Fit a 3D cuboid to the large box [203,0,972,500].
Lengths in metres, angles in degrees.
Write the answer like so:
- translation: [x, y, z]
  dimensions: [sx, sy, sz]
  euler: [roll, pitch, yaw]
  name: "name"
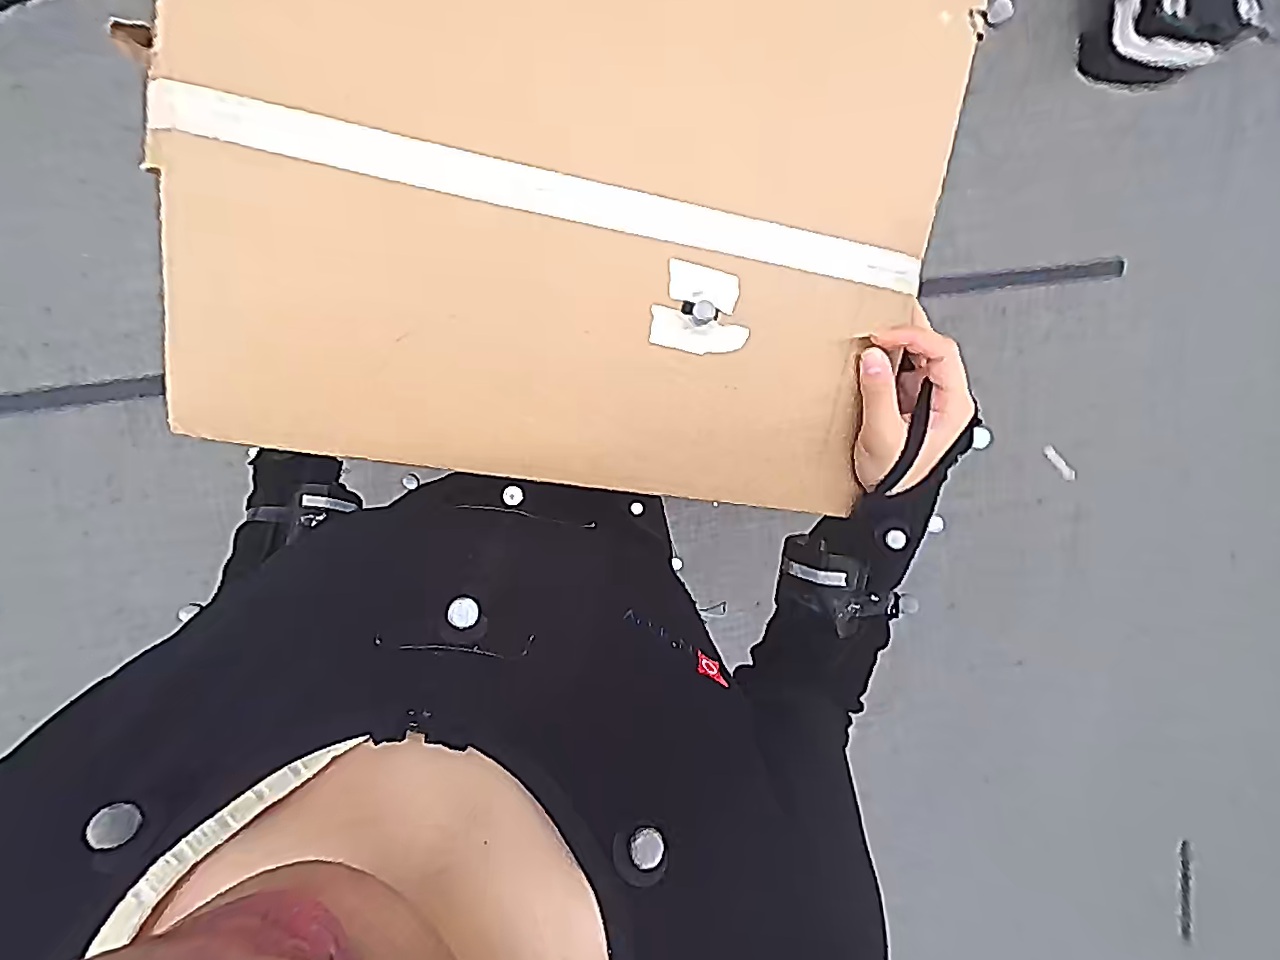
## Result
- translation: [-0.047, -0.187, 0.445]
  dimensions: [0.408, 0.320, 0.320]
  euler: [8, 102, -14]
  name: "large box"
